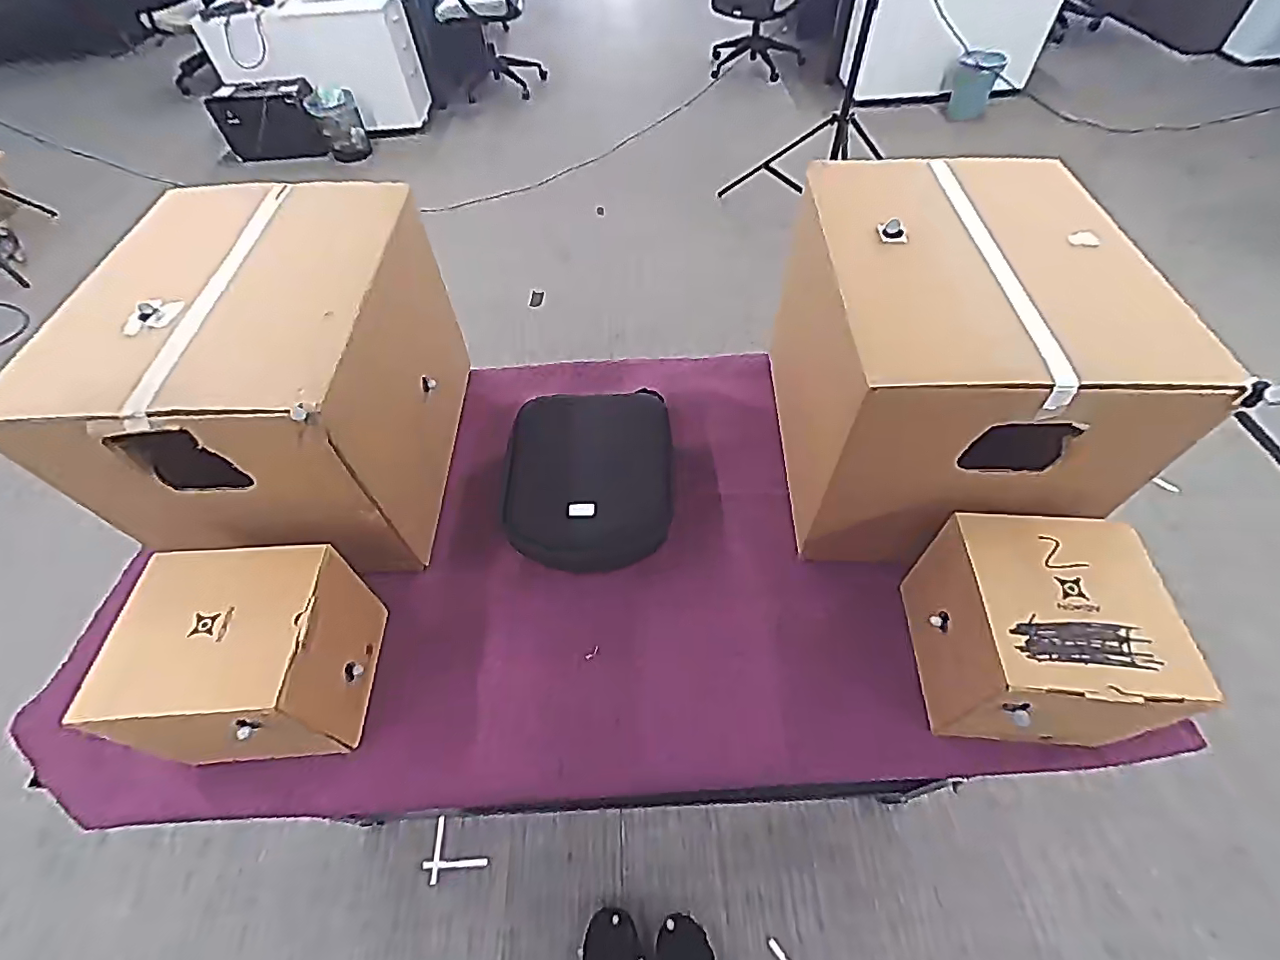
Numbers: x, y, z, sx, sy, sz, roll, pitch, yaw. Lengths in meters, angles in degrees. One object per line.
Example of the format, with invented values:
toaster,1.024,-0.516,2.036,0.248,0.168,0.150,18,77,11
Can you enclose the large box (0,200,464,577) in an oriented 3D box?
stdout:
large box,-0.445,-0.114,0.718,0.320,0.320,0.408,-3,56,-1

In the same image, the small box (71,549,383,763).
small box,-0.405,0.191,0.575,0.179,0.176,0.168,-3,52,-4
